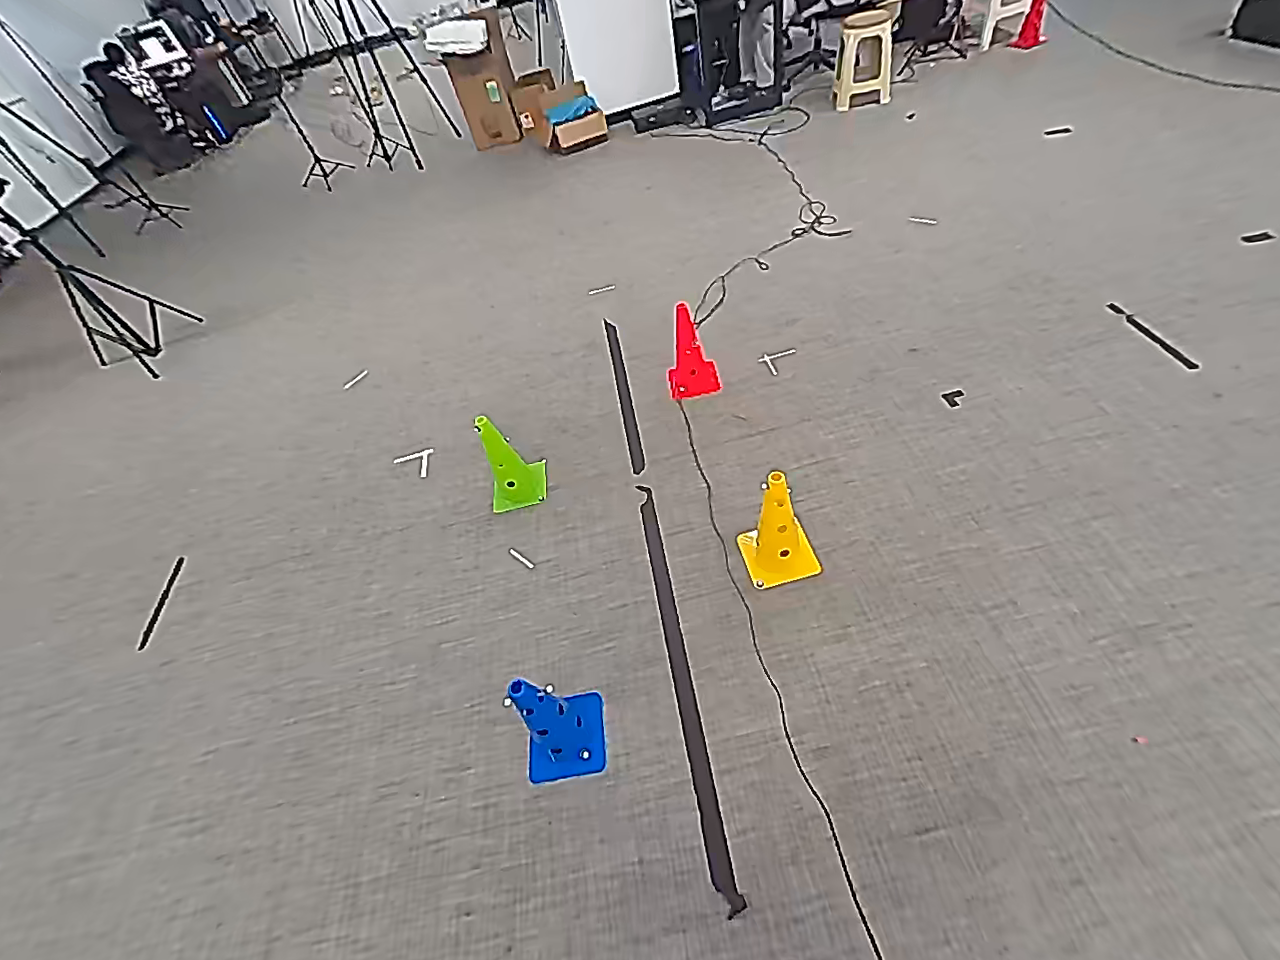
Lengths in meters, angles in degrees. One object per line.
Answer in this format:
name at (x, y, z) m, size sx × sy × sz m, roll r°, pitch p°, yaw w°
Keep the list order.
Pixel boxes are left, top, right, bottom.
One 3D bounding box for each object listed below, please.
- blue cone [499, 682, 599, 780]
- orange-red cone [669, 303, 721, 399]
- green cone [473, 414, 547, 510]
blue cone at (-0.234, 0.558, 1.280) m, size 0.192 × 0.380 × 0.193 m, roll -12°, pitch 48°, yaw 6°
orange-red cone at (0.190, -0.516, 2.071) m, size 0.199 × 0.360 × 0.198 m, roll -10°, pitch 50°, yaw 5°
green cone at (-0.479, -0.092, 1.882) m, size 0.202 × 0.368 × 0.200 m, roll -15°, pitch 48°, yaw 4°
